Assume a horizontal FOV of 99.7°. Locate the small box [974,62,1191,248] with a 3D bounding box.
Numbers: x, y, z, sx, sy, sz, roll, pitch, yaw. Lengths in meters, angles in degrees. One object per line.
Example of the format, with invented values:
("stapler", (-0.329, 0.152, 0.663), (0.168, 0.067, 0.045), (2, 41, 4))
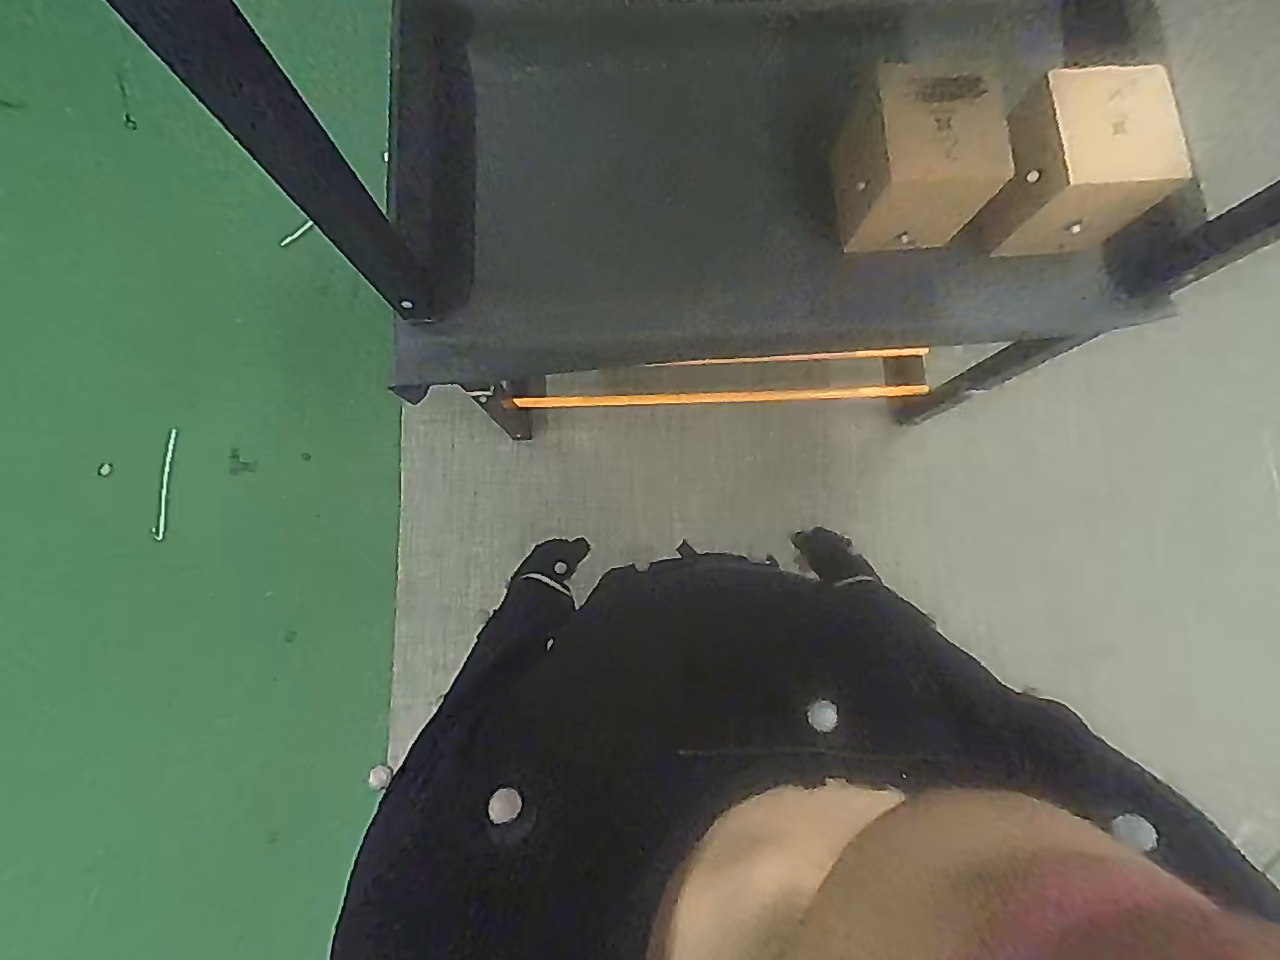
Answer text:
("small box", (0.630, -0.461, 0.794), (0.168, 0.176, 0.179), (-4, 80, -1))
